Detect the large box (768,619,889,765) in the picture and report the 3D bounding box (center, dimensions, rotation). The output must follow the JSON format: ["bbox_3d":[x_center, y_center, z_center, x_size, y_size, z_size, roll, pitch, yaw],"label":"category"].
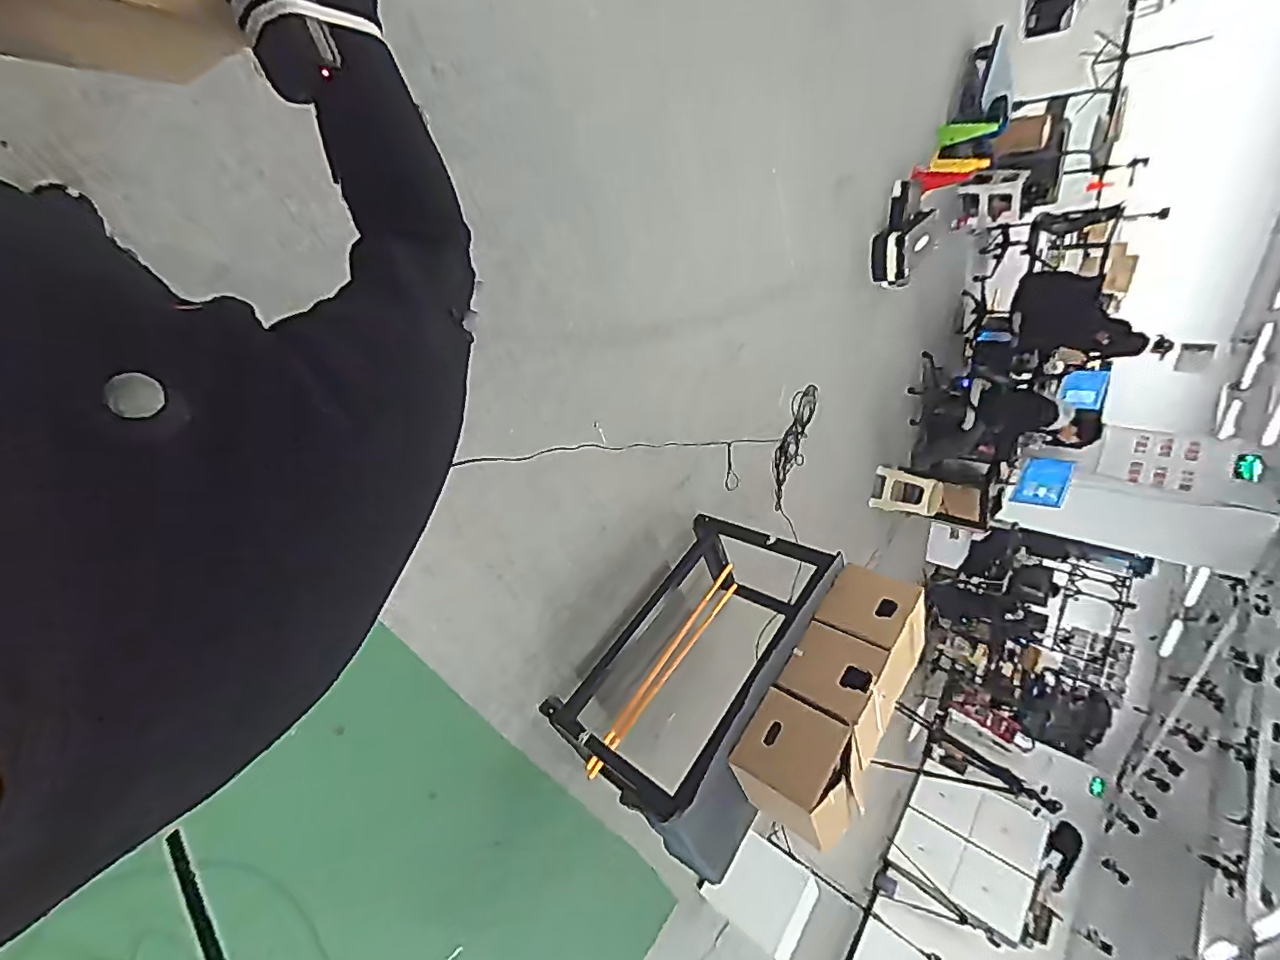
[{"bbox_3d":[0.737,0.813,2.089,0.320,0.320,0.408,-49,133,-27],"label":"large box"}]
